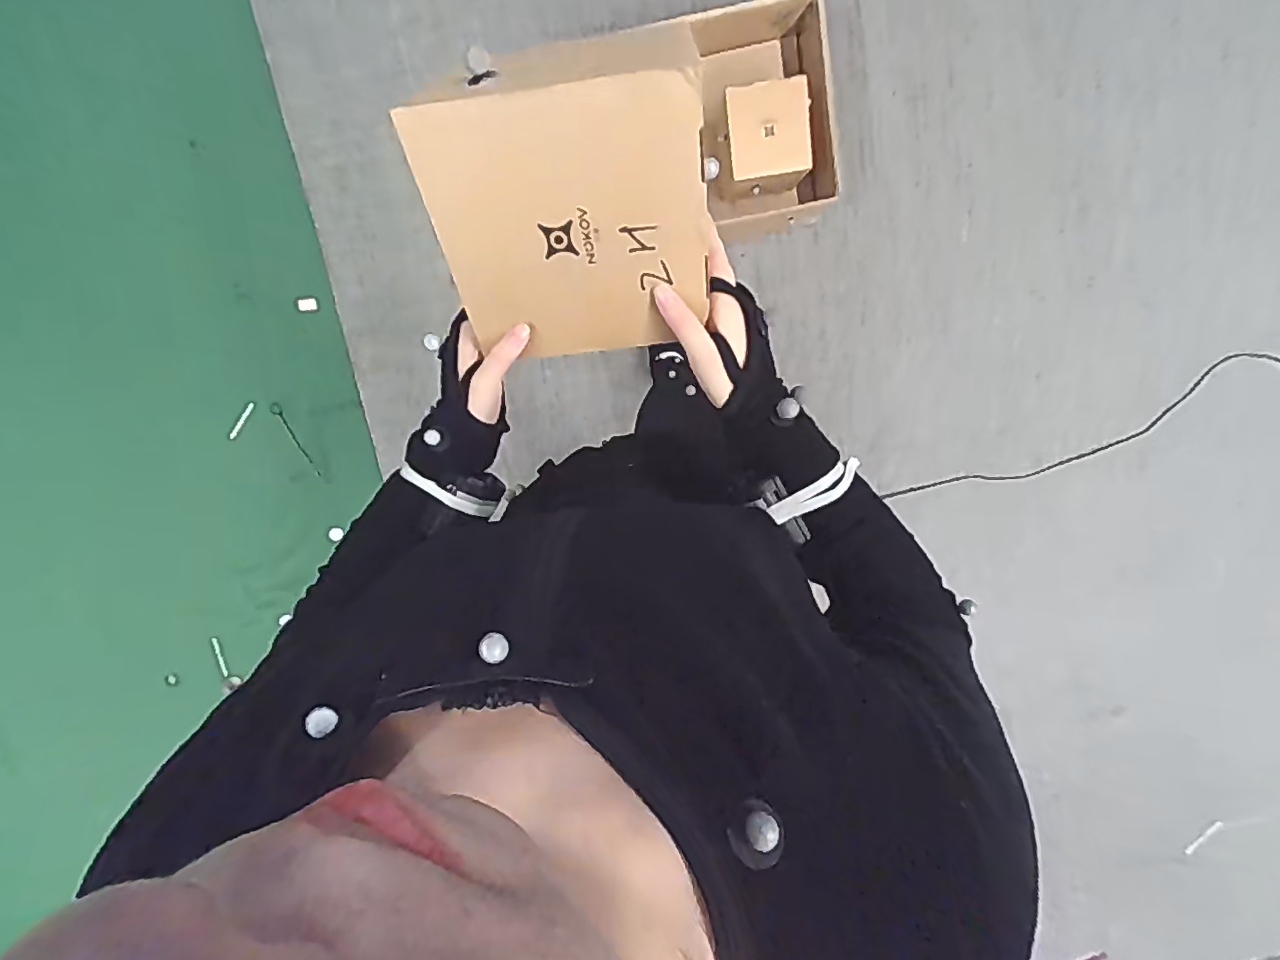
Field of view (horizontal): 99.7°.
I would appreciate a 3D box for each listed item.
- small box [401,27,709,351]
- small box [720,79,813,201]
[{"bbox_3d":[-0.041,-0.218,0.409,0.179,0.176,0.168,-4,136,5],"label":"small box"},{"bbox_3d":[0.271,-0.728,1.182,0.168,0.176,0.179,-7,102,3],"label":"small box"}]
